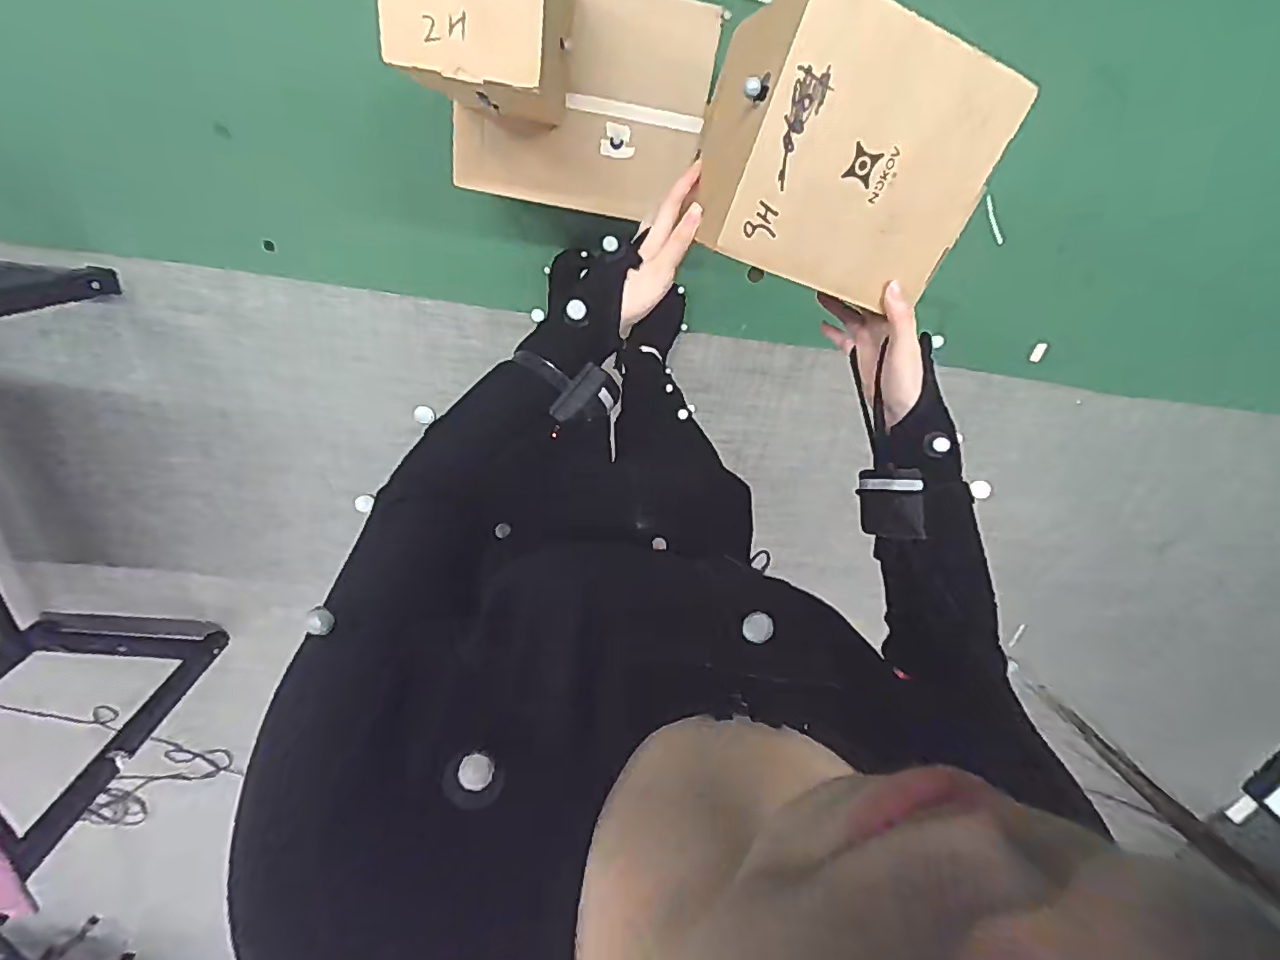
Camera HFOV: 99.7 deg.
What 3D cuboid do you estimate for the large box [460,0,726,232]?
[{"bbox_3d":[-0.094,-0.660,0.997,0.408,0.320,0.320,7,118,-6],"label":"large box"}]

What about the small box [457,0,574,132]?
[{"bbox_3d":[-0.184,-0.607,0.749,0.168,0.176,0.179,8,117,-6],"label":"small box"}]

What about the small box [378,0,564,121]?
[{"bbox_3d":[-0.178,-0.528,0.603,0.168,0.176,0.179,7,116,-6],"label":"small box"}]

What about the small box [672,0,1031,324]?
[{"bbox_3d":[0.145,-0.249,0.439,0.179,0.176,0.168,14,116,-16],"label":"small box"}]
